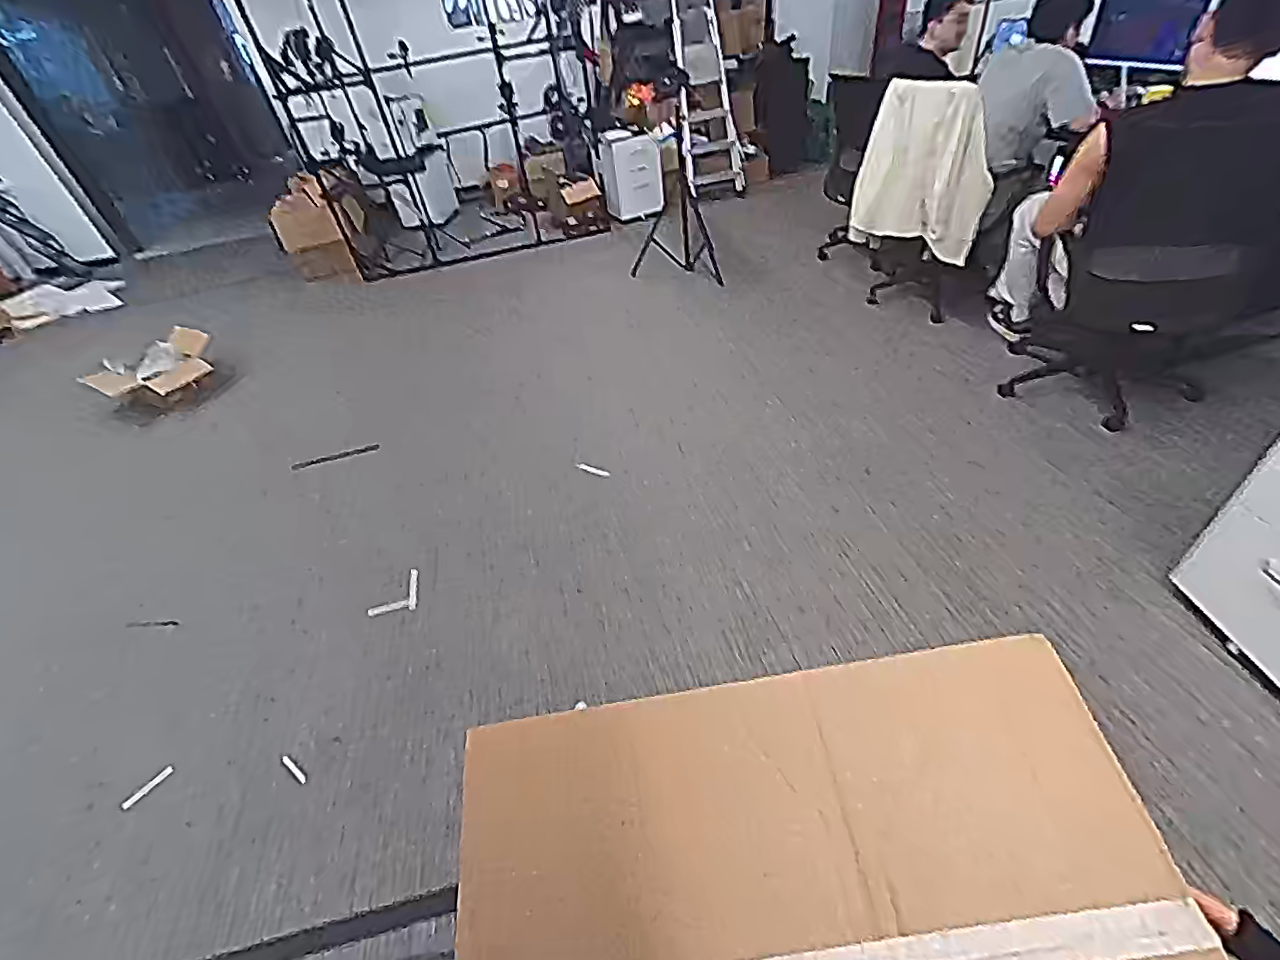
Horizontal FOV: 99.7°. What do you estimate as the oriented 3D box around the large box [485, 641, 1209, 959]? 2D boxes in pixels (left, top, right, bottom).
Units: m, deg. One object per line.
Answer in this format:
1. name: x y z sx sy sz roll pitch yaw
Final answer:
1. large box: 0.123 0.358 0.427 0.408 0.320 0.320 -11 57 2
